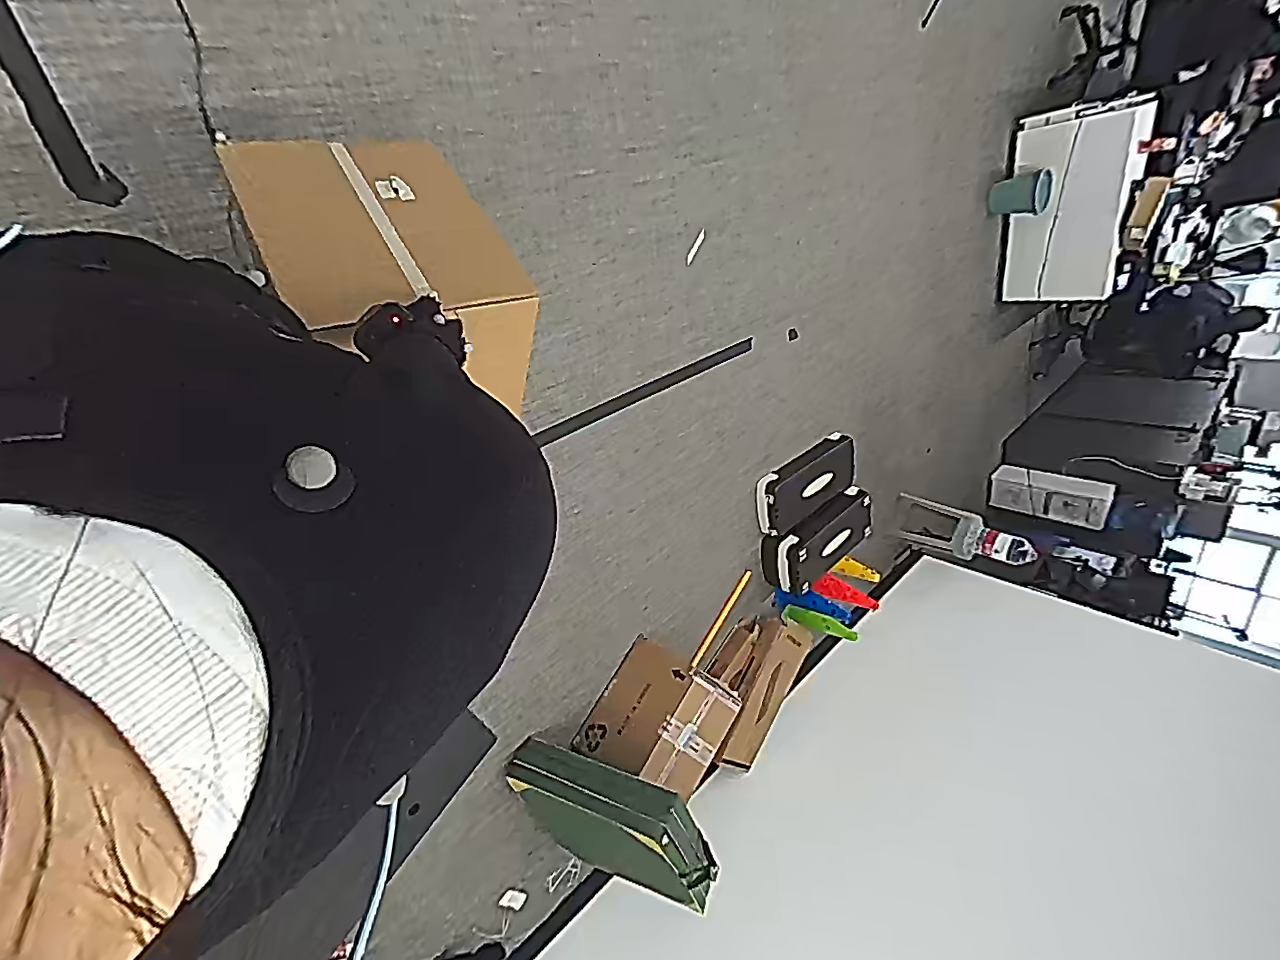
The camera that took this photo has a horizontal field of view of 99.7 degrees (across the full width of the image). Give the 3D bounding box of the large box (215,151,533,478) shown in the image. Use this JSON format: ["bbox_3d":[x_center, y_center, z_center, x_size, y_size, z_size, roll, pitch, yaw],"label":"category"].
[{"bbox_3d":[-0.422,-0.279,0.900,0.320,0.408,0.320,-22,154,-32],"label":"large box"}]
